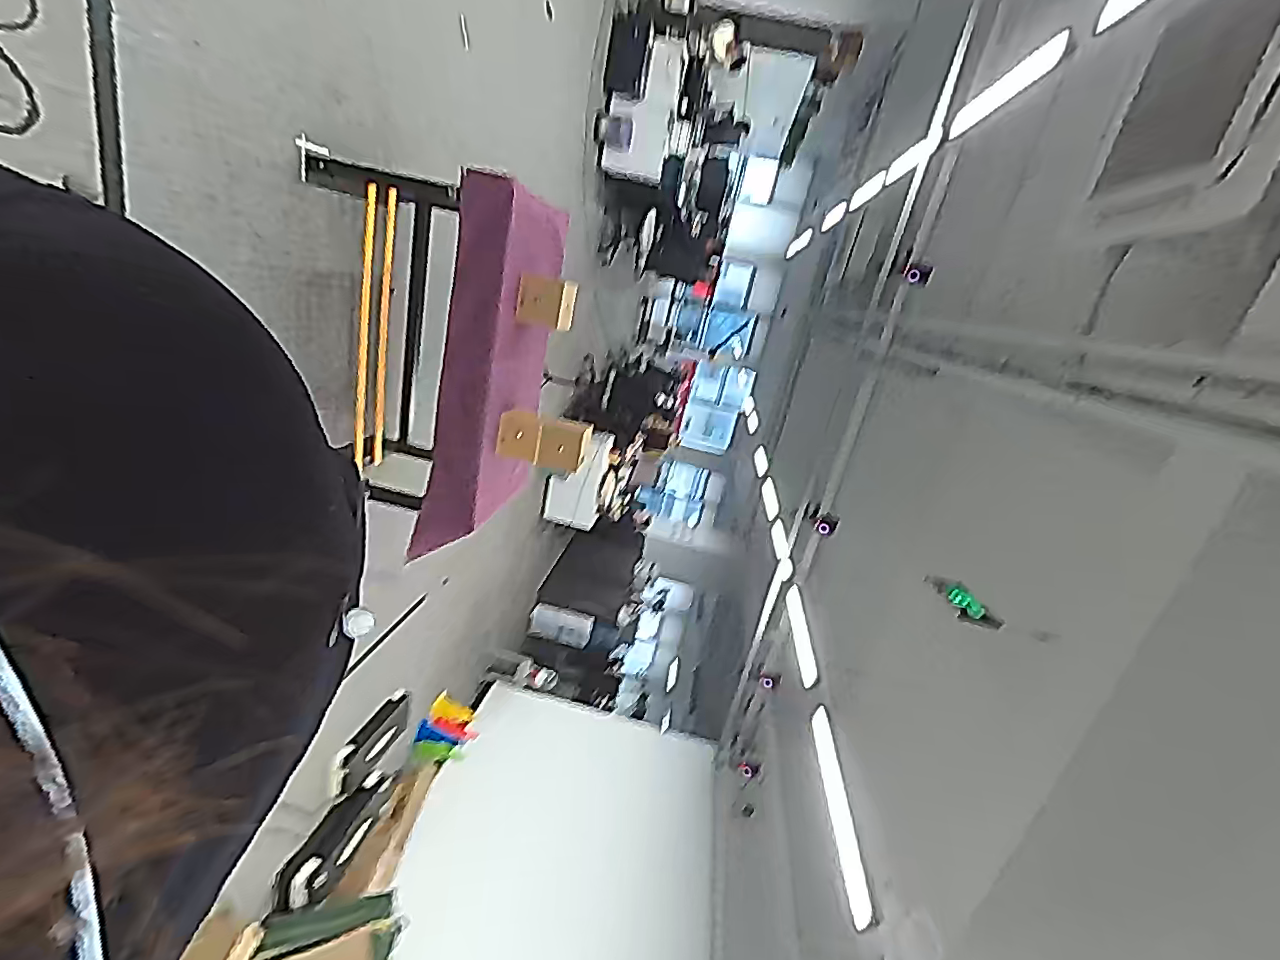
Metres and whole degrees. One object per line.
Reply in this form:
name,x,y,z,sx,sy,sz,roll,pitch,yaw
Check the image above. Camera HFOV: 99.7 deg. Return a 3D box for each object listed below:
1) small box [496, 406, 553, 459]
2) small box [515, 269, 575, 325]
small box,-0.464,-0.194,2.167,0.179,0.176,0.168,-66,168,-73
small box,-0.356,-0.682,2.019,0.179,0.176,0.168,-63,166,-73
